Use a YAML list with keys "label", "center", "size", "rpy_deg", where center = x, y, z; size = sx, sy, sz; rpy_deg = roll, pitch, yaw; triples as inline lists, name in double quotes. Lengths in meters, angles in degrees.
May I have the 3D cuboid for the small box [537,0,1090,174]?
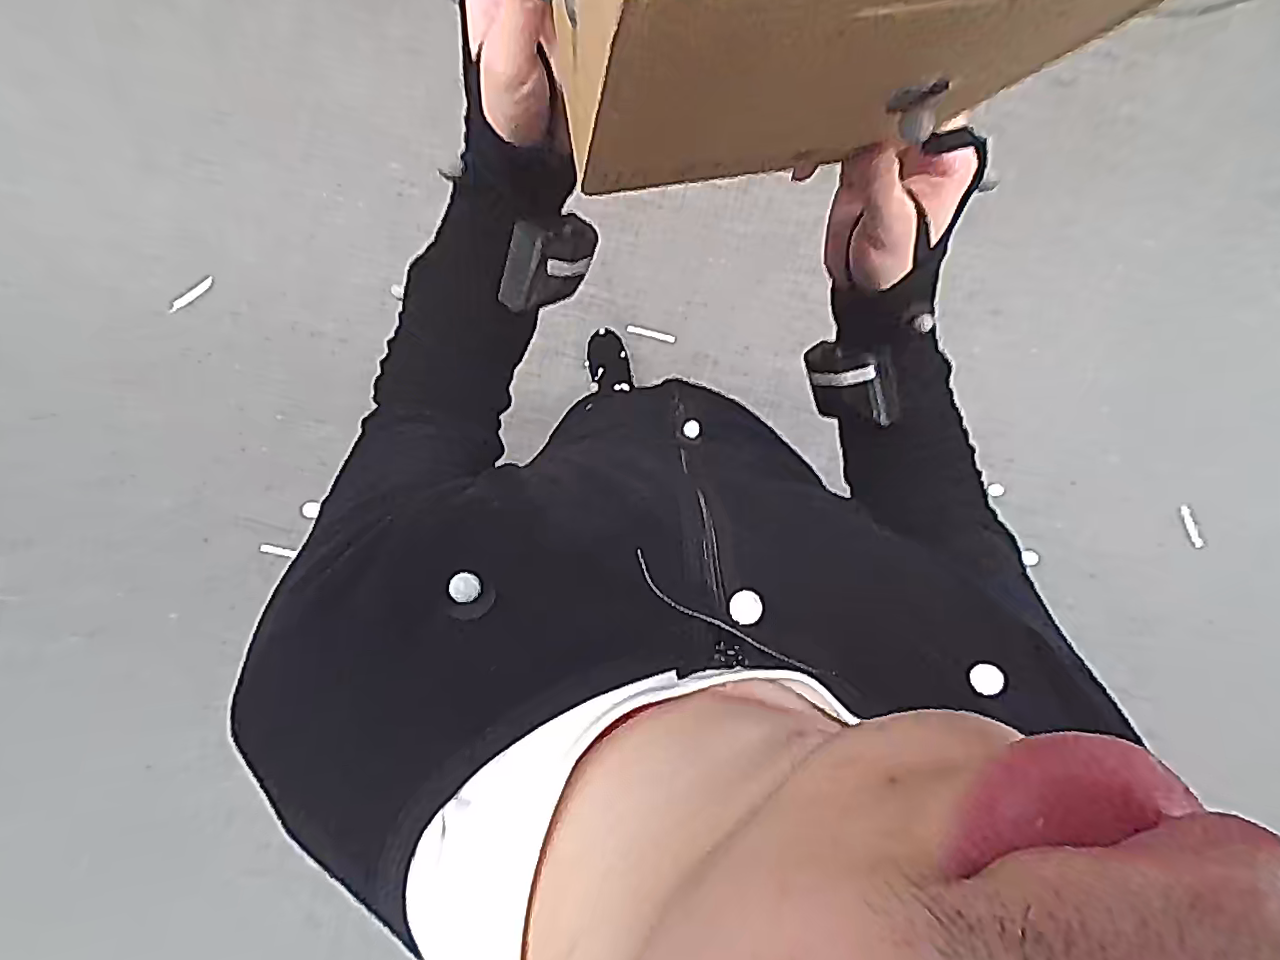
- label: "small box"
  center: [0.045, -0.225, 0.186]
  size: [0.168, 0.176, 0.179]
  rpy_deg: [-11, 105, -6]
